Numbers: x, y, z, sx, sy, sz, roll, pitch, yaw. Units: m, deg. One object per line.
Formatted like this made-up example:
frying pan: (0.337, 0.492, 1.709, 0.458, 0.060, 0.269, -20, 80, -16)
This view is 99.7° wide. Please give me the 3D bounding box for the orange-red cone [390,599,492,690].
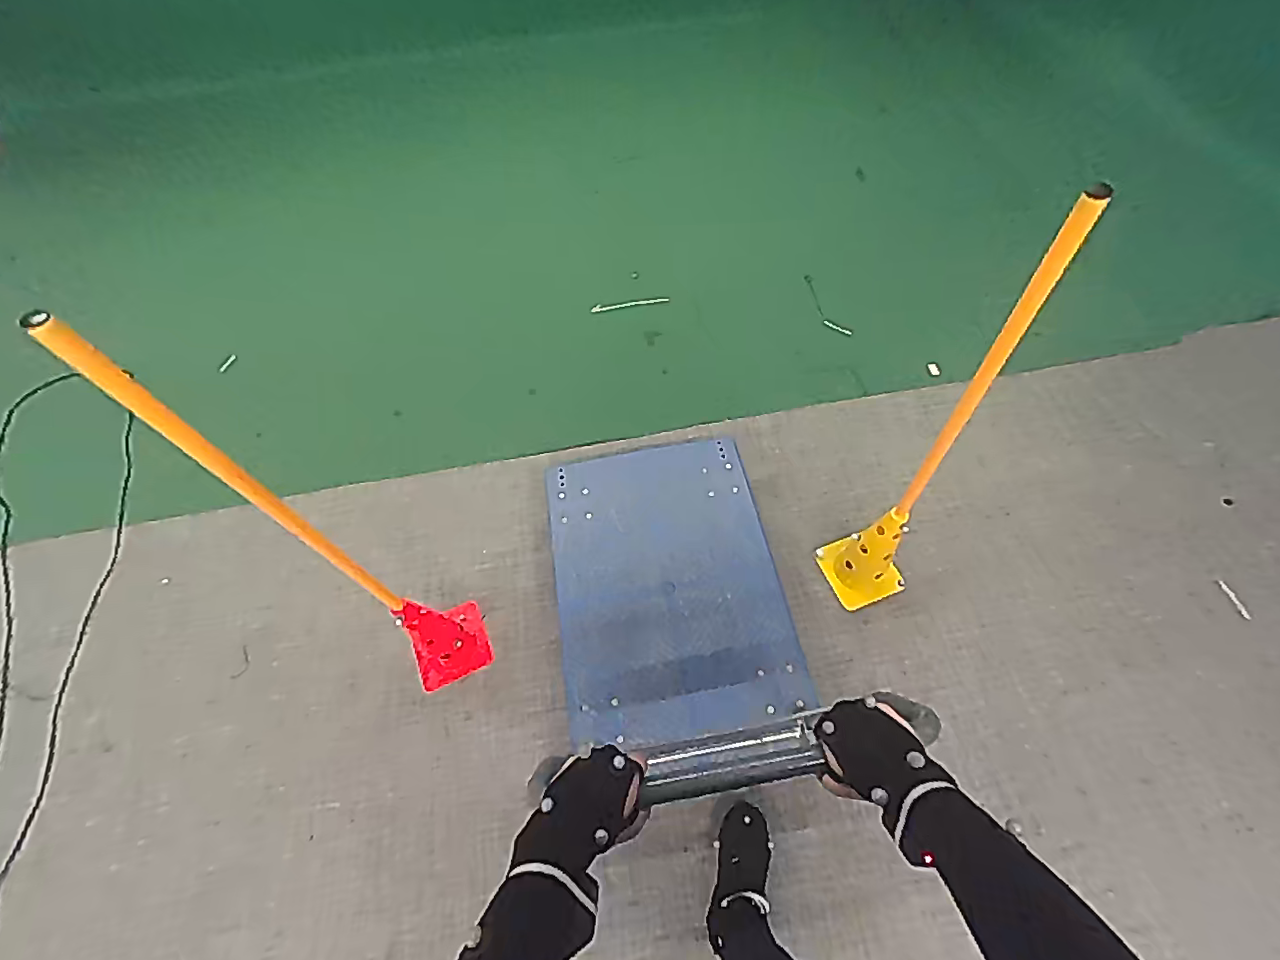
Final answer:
orange-red cone: (-0.537, 0.377, 1.367, 0.199, 0.360, 0.198, -23, 60, -9)
